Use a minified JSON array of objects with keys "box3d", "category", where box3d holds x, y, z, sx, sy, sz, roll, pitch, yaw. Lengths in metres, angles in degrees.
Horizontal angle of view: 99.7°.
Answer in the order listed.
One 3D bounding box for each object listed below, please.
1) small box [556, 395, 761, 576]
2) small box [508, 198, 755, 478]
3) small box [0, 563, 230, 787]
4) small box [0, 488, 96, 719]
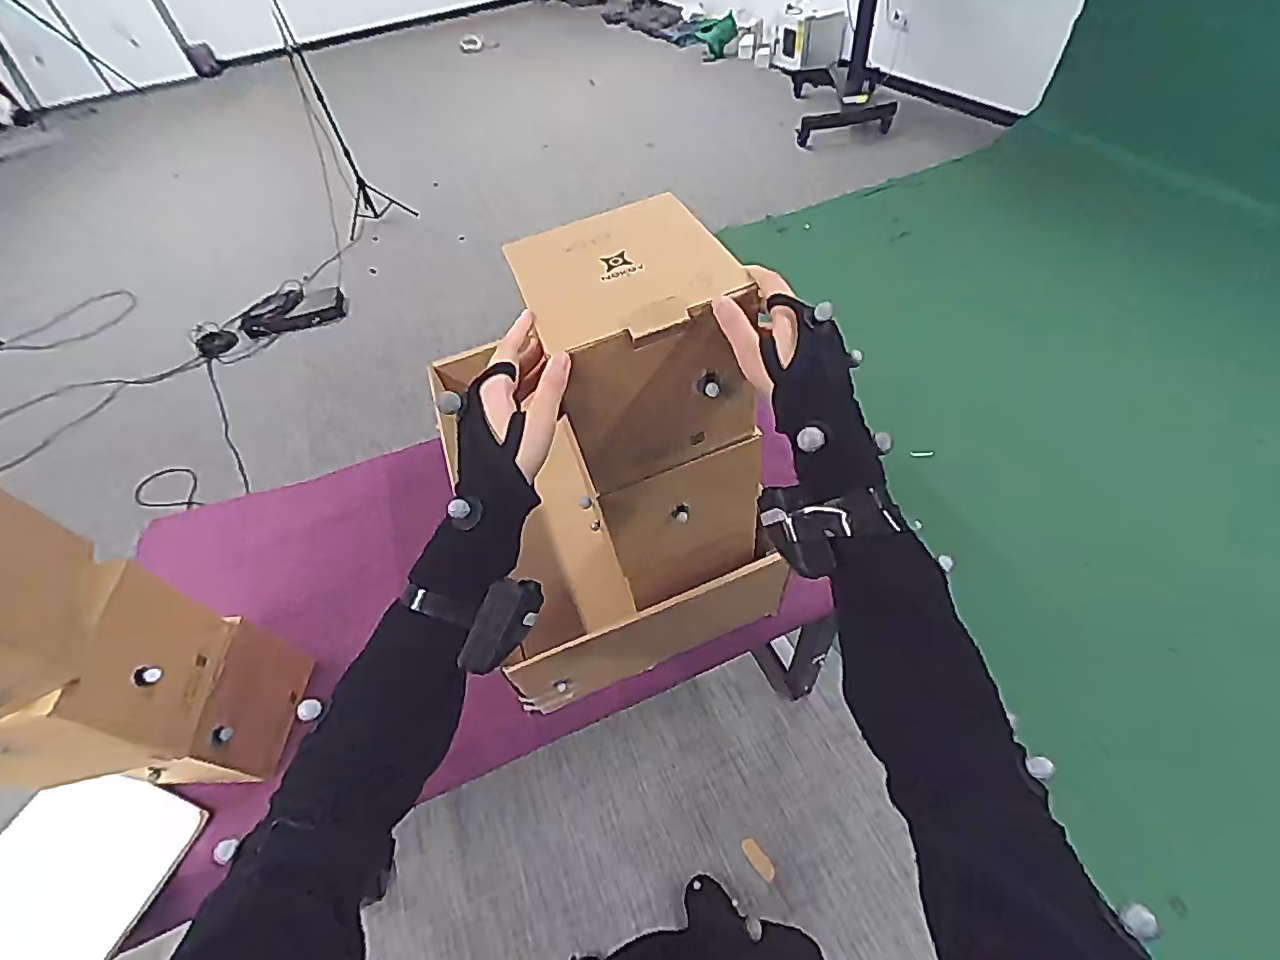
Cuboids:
[{"box3d":[0.022,-0.018,0.627,0.179,0.176,0.168,-21,52,-6],"category":"small box"},{"box3d":[-0.004,-0.123,0.503,0.168,0.176,0.179,-20,51,-6],"category":"small box"},{"box3d":[-0.601,0.215,0.586,0.179,0.176,0.168,-11,50,-1],"category":"small box"},{"box3d":[-0.624,0.111,0.460,0.168,0.176,0.179,-29,53,-15],"category":"small box"}]
